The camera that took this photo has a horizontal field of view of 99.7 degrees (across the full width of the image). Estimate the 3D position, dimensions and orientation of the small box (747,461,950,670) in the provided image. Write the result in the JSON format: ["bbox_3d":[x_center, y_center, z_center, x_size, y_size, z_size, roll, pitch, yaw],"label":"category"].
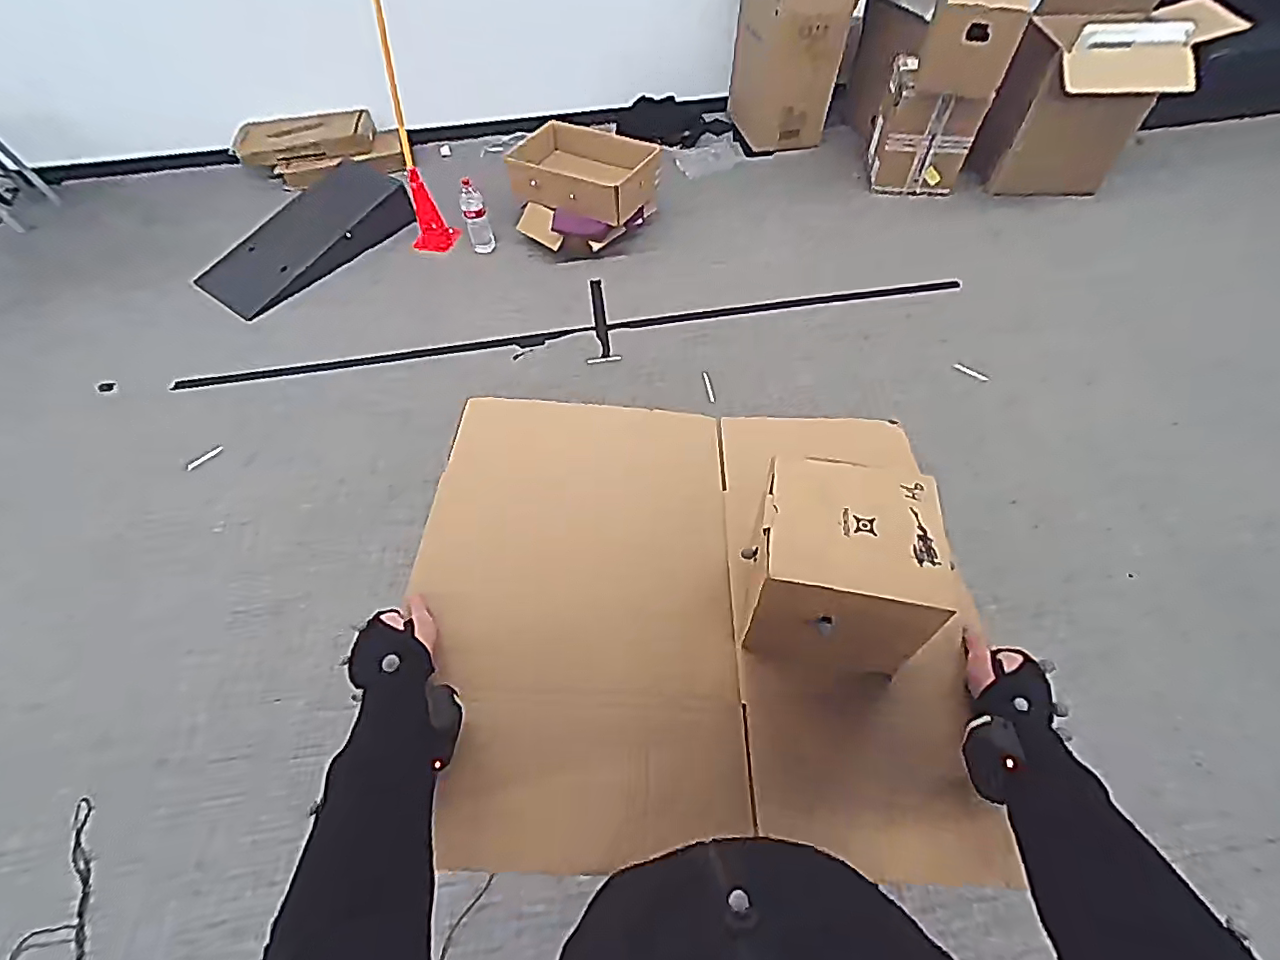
[{"bbox_3d":[0.224,0.102,0.625,0.179,0.176,0.168,8,52,9],"label":"small box"}]
